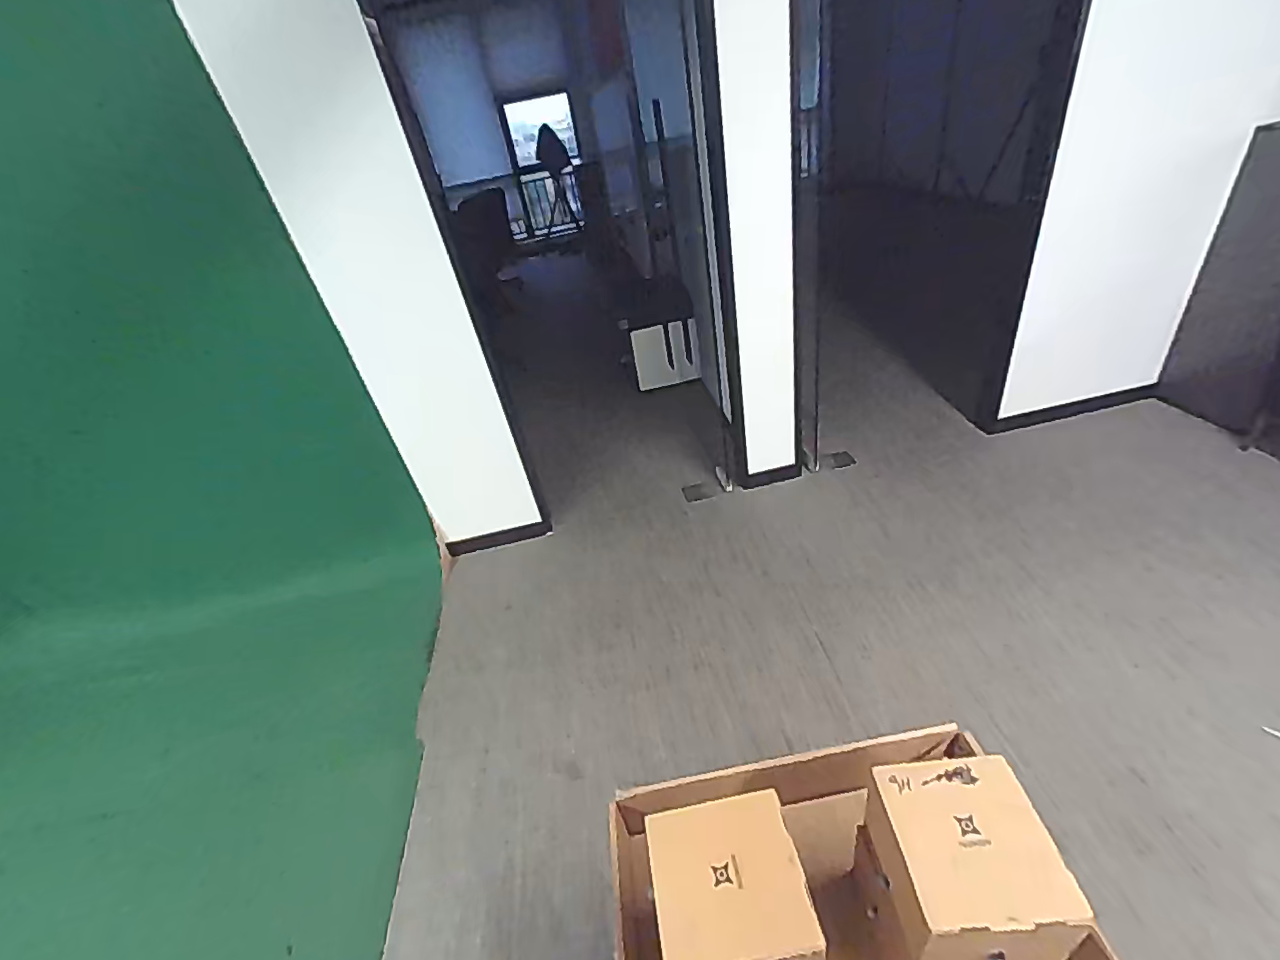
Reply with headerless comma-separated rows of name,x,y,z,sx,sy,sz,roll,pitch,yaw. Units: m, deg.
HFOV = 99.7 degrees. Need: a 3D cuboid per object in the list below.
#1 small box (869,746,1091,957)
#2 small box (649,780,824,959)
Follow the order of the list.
small box,0.397,0.462,0.670,0.168,0.176,0.179,-9,36,7
small box,0.120,0.520,0.685,0.179,0.176,0.168,-12,35,-1
